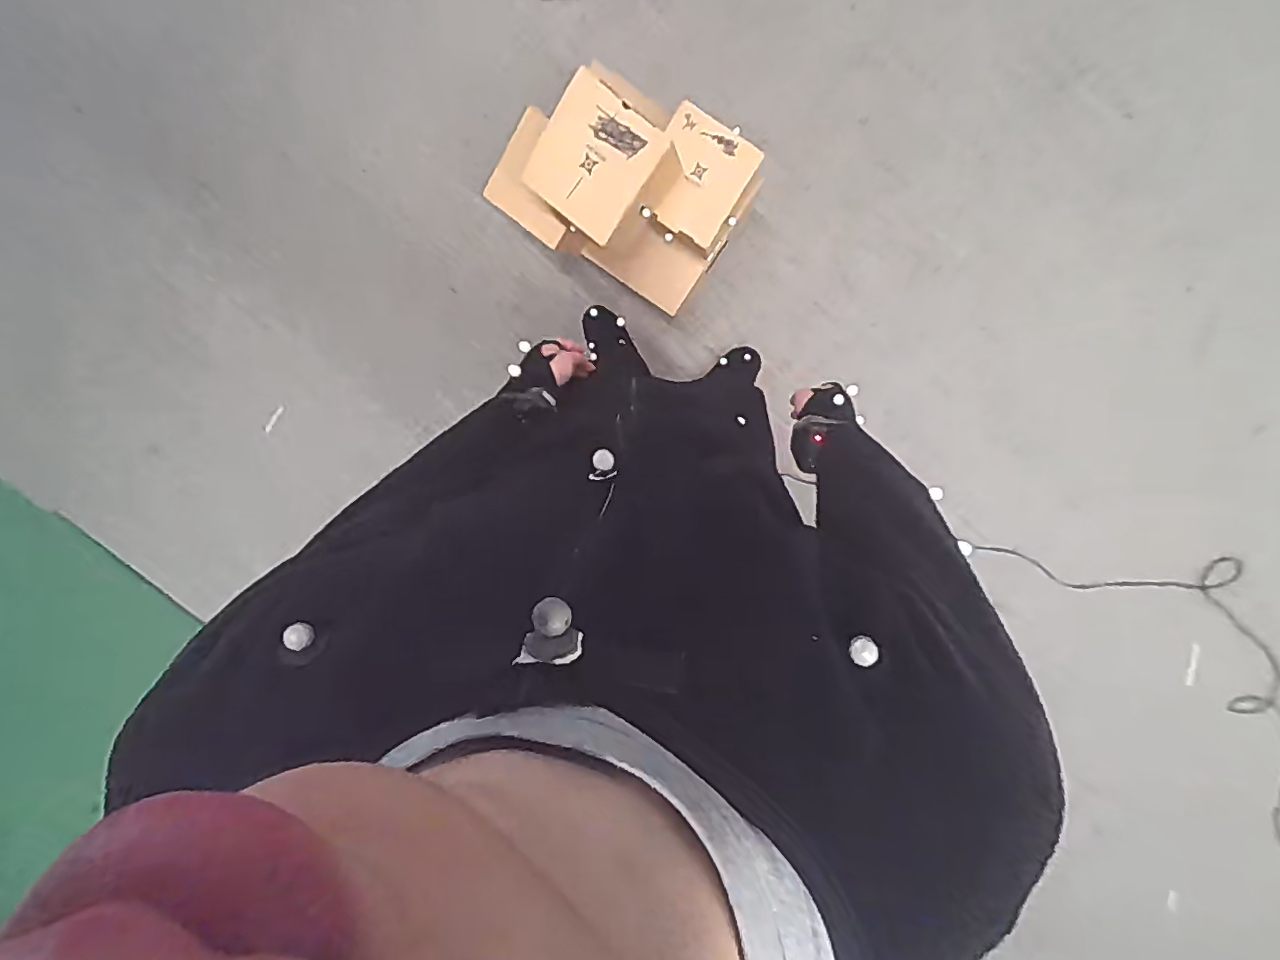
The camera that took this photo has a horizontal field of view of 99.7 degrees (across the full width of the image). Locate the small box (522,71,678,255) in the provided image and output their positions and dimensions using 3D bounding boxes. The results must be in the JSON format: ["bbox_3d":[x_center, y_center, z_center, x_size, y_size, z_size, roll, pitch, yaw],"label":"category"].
[{"bbox_3d":[-0.053,-0.489,0.866,0.168,0.176,0.179,39,111,-3],"label":"small box"}]

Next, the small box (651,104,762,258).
[{"bbox_3d":[0.107,-0.535,1.000,0.168,0.176,0.179,33,109,-2],"label":"small box"}]
